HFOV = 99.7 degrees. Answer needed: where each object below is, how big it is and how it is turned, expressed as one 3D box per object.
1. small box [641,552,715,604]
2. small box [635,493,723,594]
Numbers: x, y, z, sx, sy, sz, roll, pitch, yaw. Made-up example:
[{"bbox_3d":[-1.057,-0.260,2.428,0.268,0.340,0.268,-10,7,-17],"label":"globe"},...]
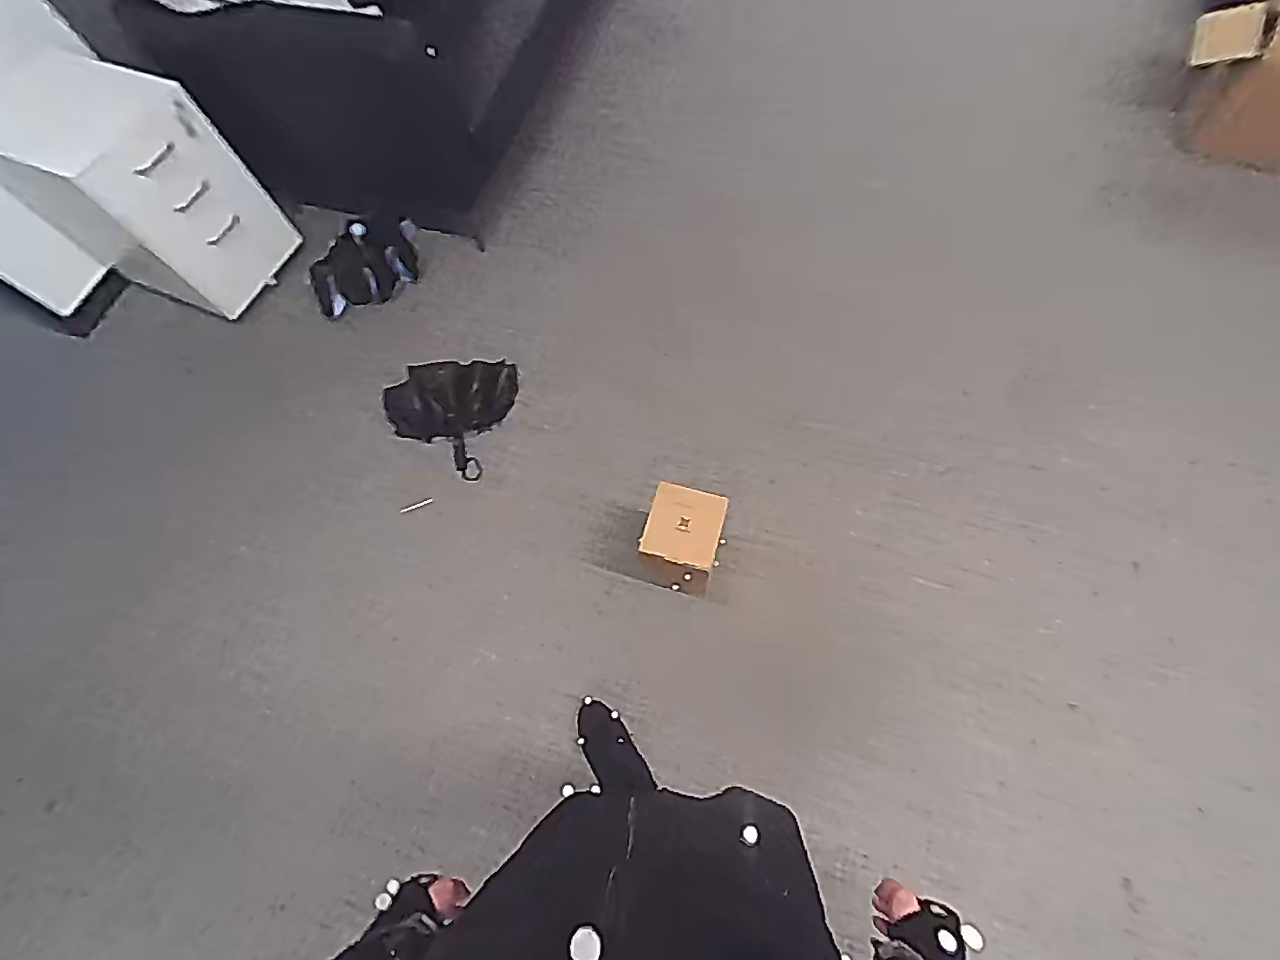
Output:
[{"bbox_3d":[0.107,0.219,1.438,0.168,0.176,0.179,12,69,9],"label":"small box"},{"bbox_3d":[0.094,0.158,1.288,0.168,0.176,0.179,14,67,8],"label":"small box"}]
